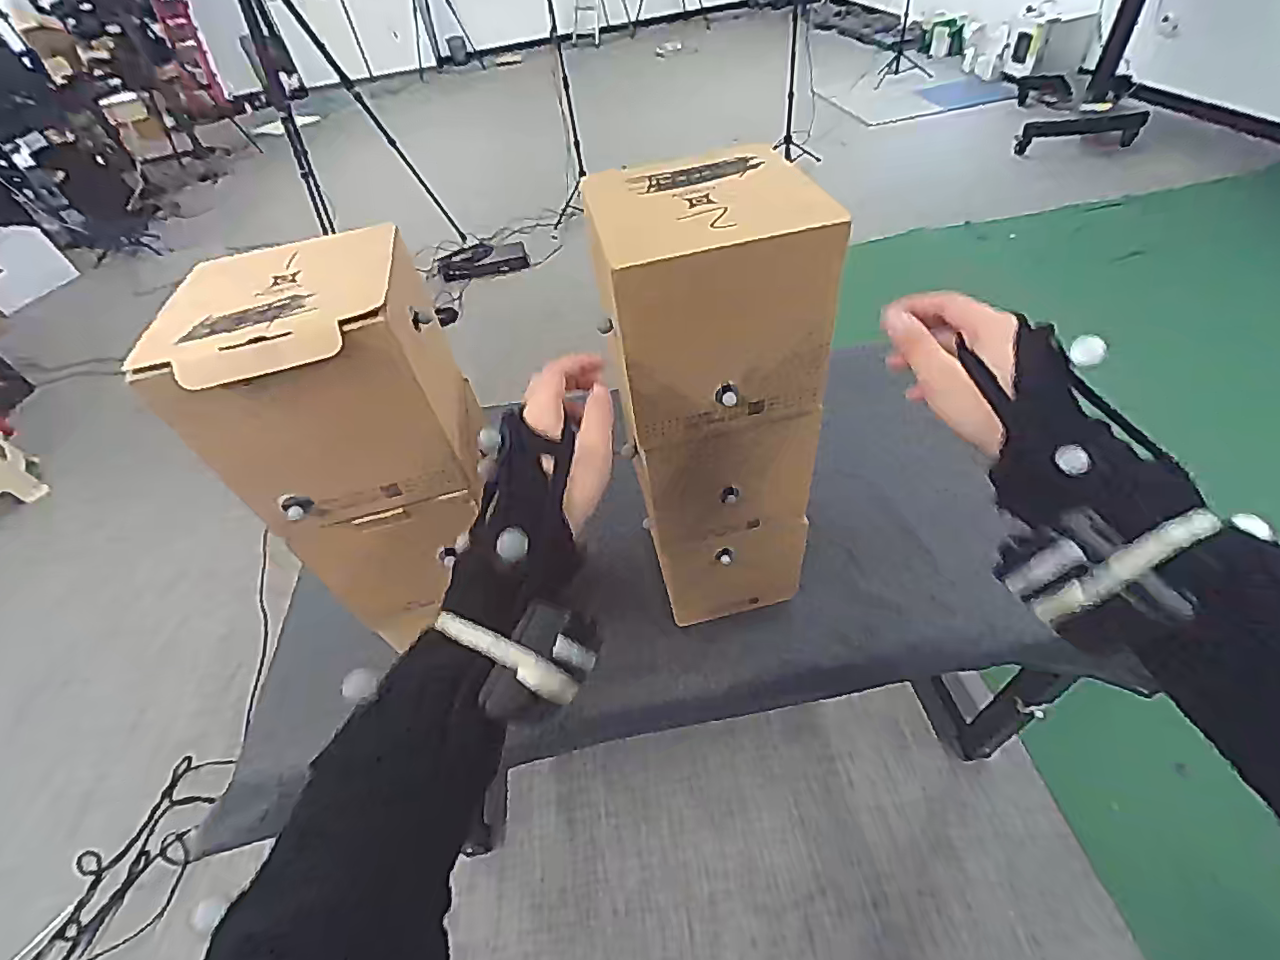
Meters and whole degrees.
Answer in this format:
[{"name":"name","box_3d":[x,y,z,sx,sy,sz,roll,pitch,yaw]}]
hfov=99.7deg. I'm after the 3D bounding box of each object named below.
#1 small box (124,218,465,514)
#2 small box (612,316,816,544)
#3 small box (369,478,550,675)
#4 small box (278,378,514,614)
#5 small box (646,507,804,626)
[{"name":"small box","box_3d":[-0.255,-0.091,0.456,0.168,0.176,0.179,-15,46,-7]},{"name":"small box","box_3d":[0.073,-0.048,0.589,0.168,0.176,0.179,-12,47,-4]},{"name":"small box","box_3d":[-0.219,0.130,0.694,0.168,0.176,0.179,-14,47,-4]},{"name":"small box","box_3d":[-0.238,0.023,0.575,0.168,0.176,0.179,-14,45,-6]},{"name":"small box","box_3d":[0.097,0.062,0.711,0.168,0.176,0.179,-13,46,-3]}]
